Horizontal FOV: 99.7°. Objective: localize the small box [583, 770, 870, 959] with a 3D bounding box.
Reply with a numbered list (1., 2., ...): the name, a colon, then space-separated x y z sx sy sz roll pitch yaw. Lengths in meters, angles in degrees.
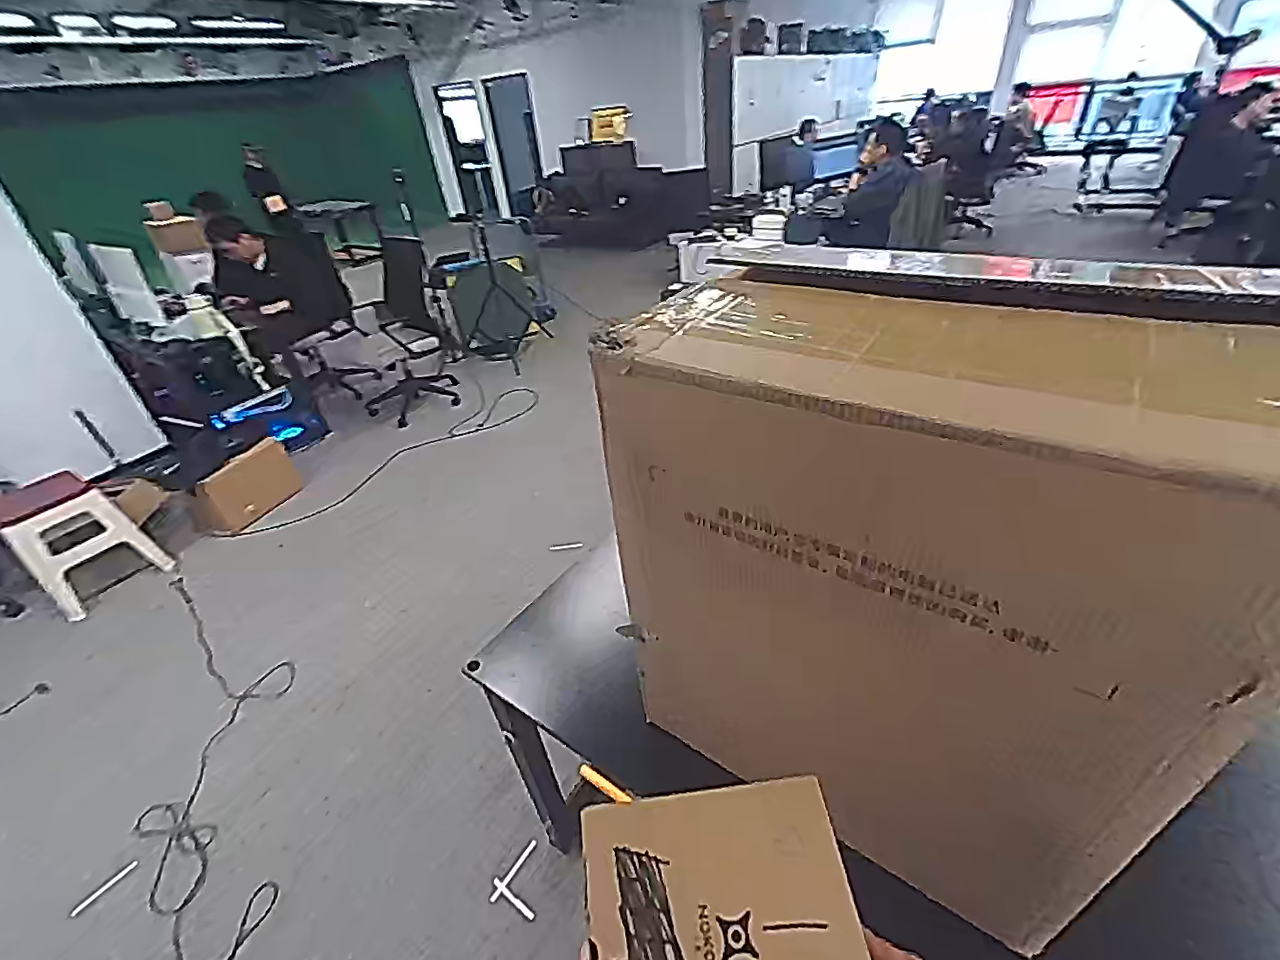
1. small box: 0.058 0.337 0.401 0.179 0.176 0.168 -7 47 0
